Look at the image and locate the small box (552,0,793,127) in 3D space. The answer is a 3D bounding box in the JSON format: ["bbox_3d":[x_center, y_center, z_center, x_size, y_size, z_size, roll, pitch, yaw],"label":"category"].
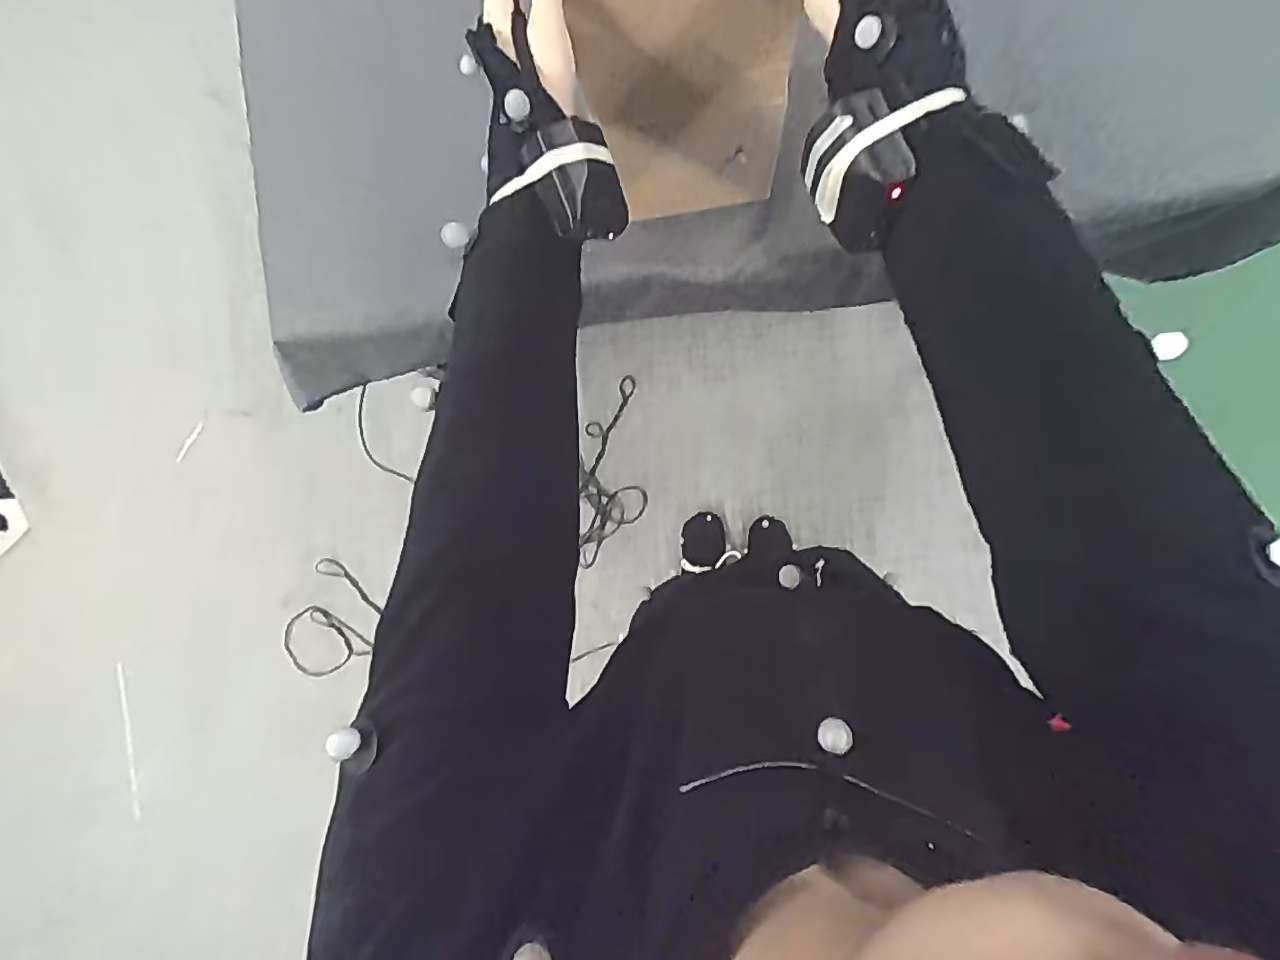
[{"bbox_3d":[0.021,-0.404,0.405,0.179,0.176,0.168,-6,89,7],"label":"small box"}]
